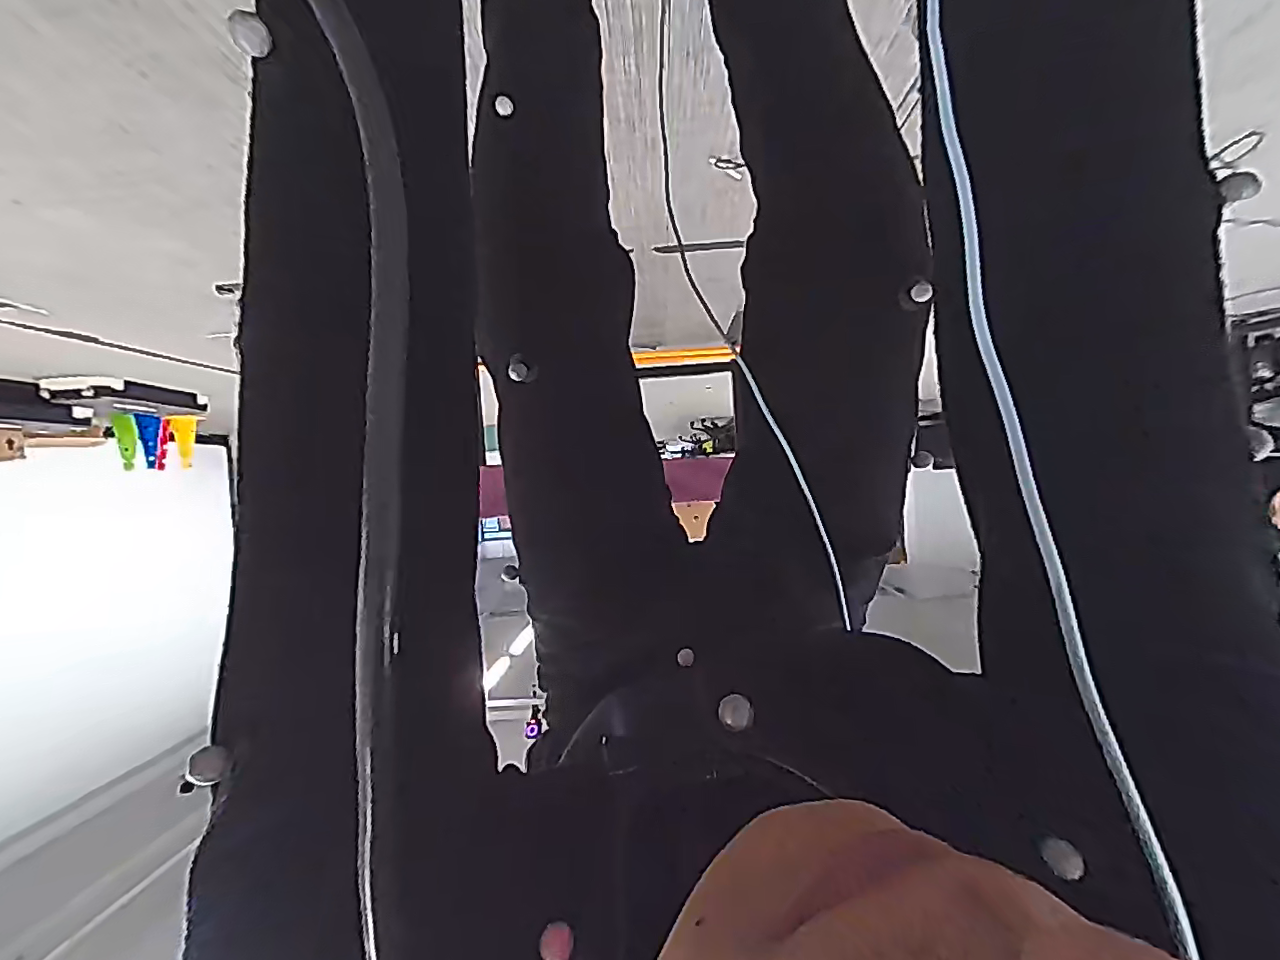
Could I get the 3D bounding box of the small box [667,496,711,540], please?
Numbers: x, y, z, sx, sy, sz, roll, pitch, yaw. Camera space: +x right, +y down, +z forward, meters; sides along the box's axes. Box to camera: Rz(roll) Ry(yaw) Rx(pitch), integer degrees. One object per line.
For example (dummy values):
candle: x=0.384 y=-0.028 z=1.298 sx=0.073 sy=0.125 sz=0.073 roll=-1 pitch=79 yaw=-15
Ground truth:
small box: x=0.207 y=0.160 z=2.332 sx=0.168 sy=0.176 sz=0.179 roll=-4 pitch=-179 yaw=-1
